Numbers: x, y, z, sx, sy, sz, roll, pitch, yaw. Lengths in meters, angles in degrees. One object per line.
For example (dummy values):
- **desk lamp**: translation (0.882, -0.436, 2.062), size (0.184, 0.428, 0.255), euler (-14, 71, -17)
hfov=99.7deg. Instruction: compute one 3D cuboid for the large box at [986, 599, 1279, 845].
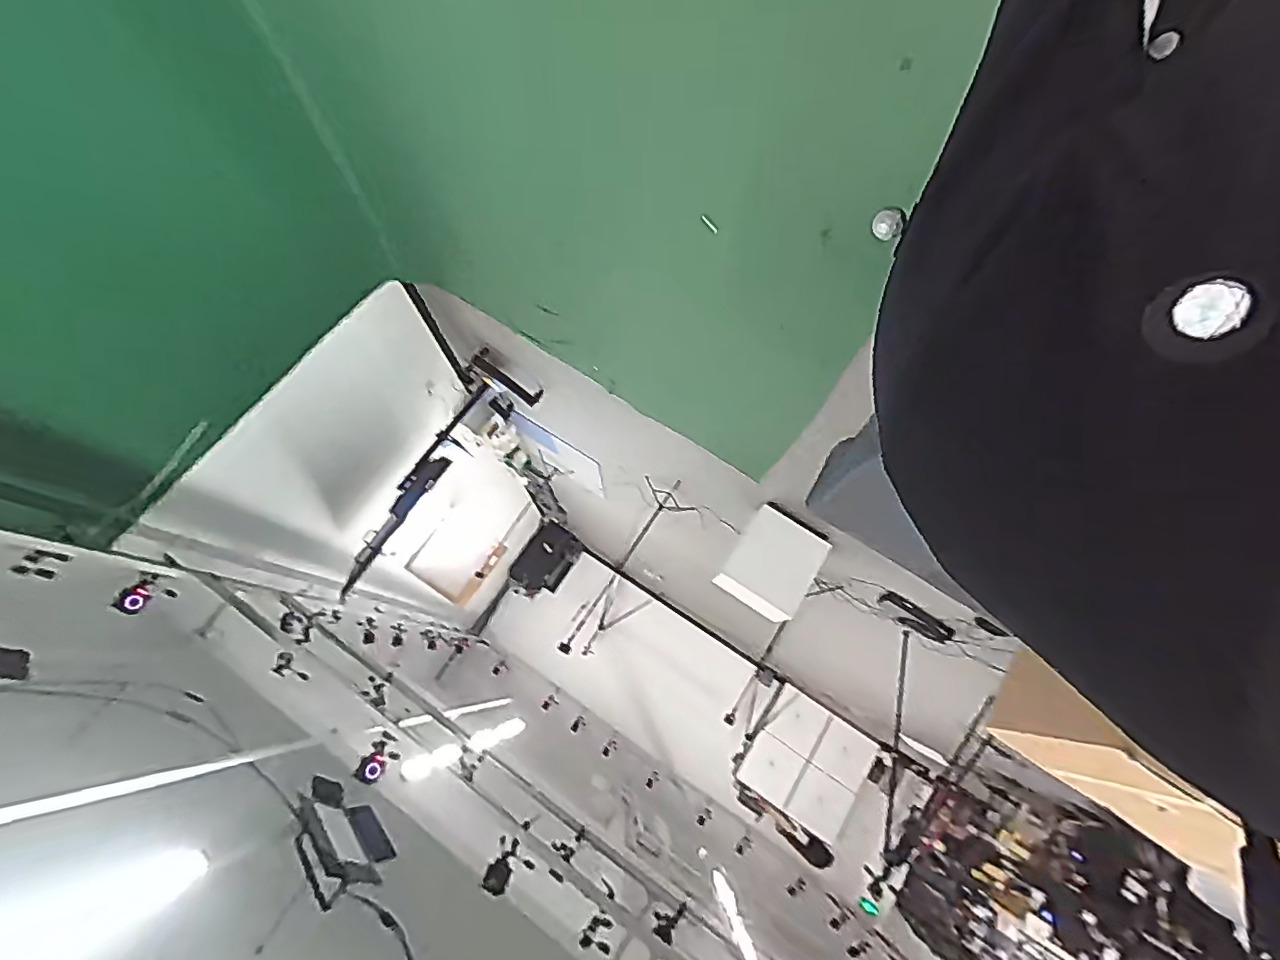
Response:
- **large box**: translation (1.055, 0.489, 1.157), size (0.320, 0.320, 0.408), euler (32, 162, 10)
